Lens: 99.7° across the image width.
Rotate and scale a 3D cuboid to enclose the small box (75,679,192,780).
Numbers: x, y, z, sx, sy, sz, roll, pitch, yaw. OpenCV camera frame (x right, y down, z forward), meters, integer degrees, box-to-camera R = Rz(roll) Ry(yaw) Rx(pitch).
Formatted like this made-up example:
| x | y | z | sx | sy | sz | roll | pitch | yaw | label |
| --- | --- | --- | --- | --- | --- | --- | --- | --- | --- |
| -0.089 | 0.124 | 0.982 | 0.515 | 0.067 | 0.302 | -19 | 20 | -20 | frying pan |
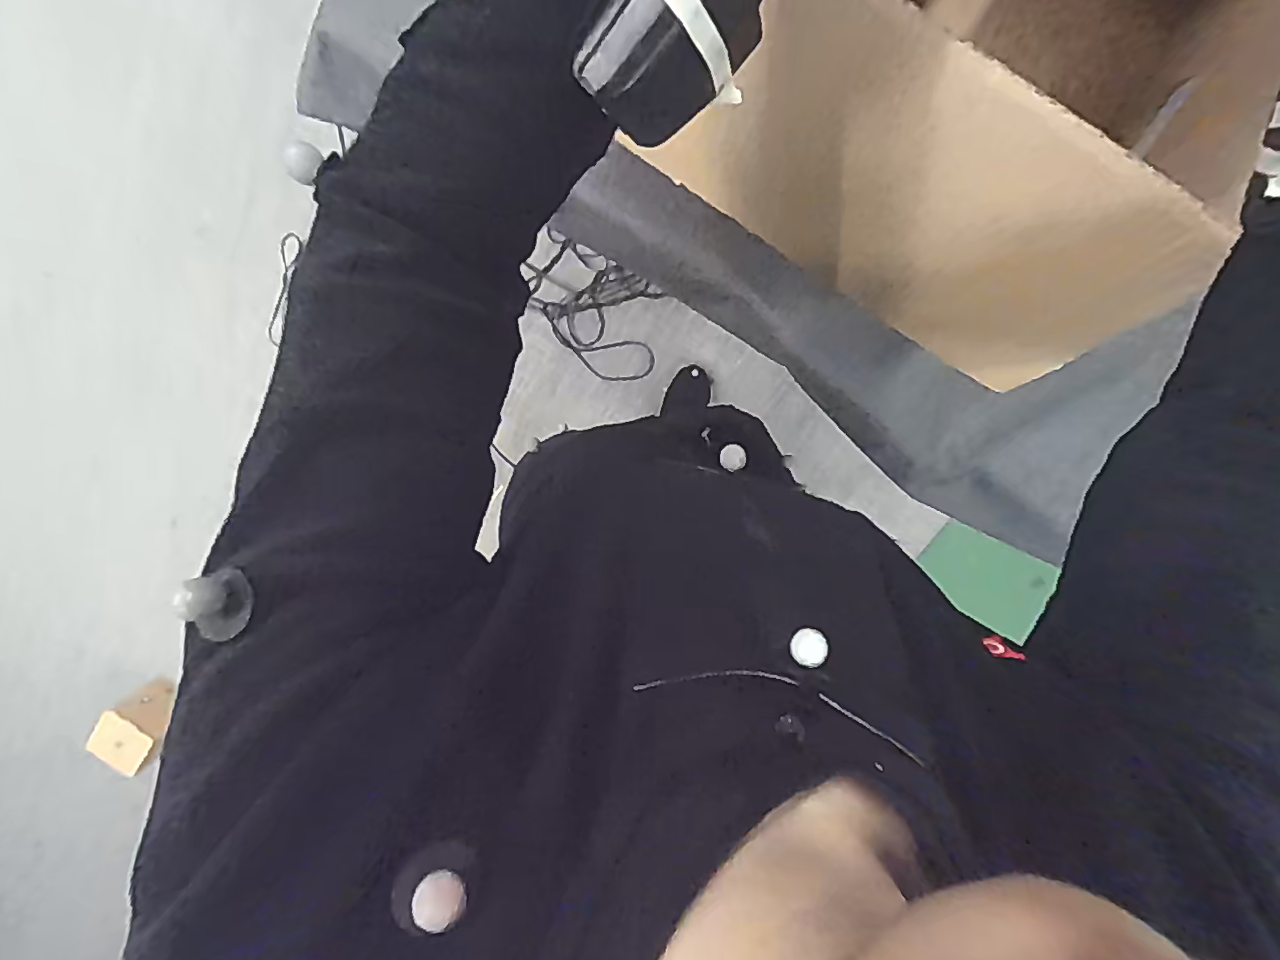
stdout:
| x | y | z | sx | sy | sz | roll | pitch | yaw | label |
| --- | --- | --- | --- | --- | --- | --- | --- | --- | --- |
| -1.496 | 0.734 | 1.609 | 0.168 | 0.176 | 0.179 | 37 | 105 | -3 | small box |
